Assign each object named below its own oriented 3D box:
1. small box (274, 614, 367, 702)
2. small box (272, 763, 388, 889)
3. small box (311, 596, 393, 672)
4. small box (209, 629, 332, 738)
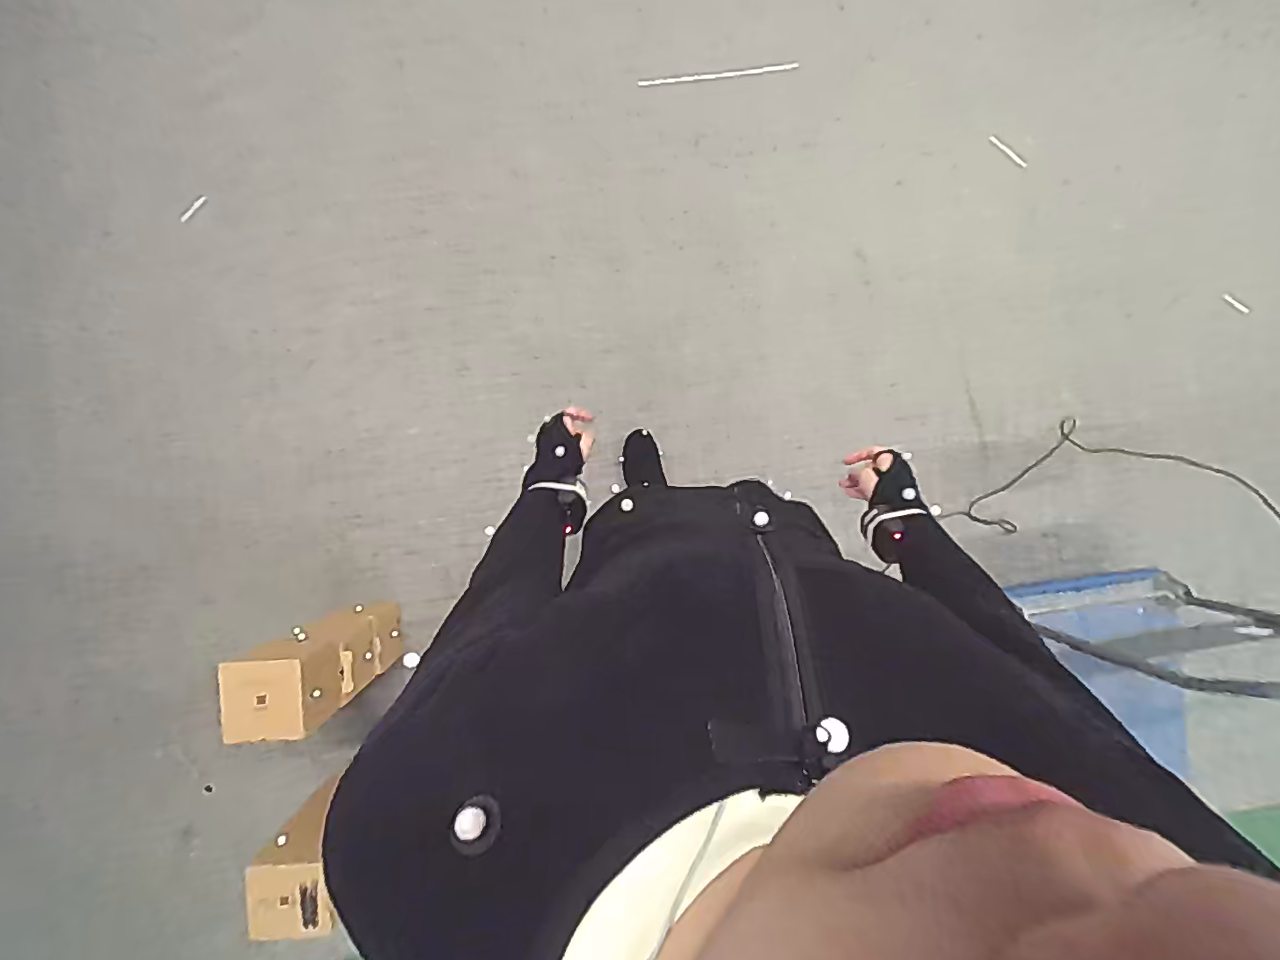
[{"bbox_3d":[-0.812,0.441,1.353,0.179,0.176,0.168,0,93,-3],"label":"small box"},{"bbox_3d":[-0.780,0.878,1.385,0.168,0.176,0.179,30,91,-6],"label":"small box"},{"bbox_3d":[-0.811,0.432,1.518,0.179,0.176,0.168,-4,93,-4],"label":"small box"},{"bbox_3d":[-0.803,0.441,1.190,0.168,0.176,0.179,0,93,-4],"label":"small box"}]
